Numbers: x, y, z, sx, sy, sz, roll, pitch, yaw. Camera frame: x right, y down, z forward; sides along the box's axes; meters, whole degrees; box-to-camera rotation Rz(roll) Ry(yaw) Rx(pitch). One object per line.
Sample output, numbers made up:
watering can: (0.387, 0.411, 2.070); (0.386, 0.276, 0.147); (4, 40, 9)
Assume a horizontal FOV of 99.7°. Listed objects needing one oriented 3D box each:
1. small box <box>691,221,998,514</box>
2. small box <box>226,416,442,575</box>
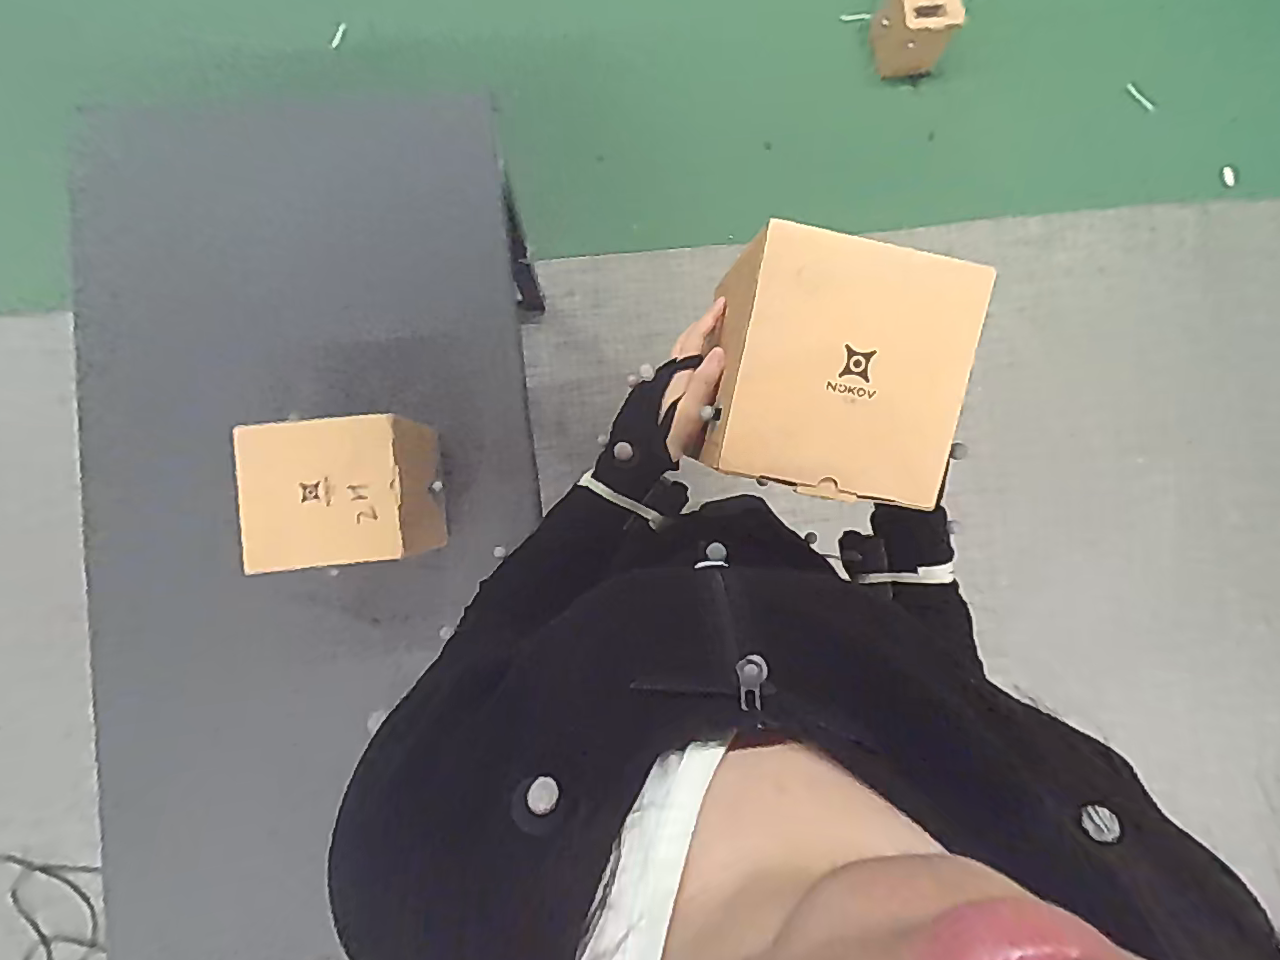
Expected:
small box: (0.147, -0.084, 0.454); (0.168, 0.176, 0.179); (10, 97, -5)
small box: (-0.366, 0.020, 0.674); (0.179, 0.176, 0.168); (-6, 89, -4)
